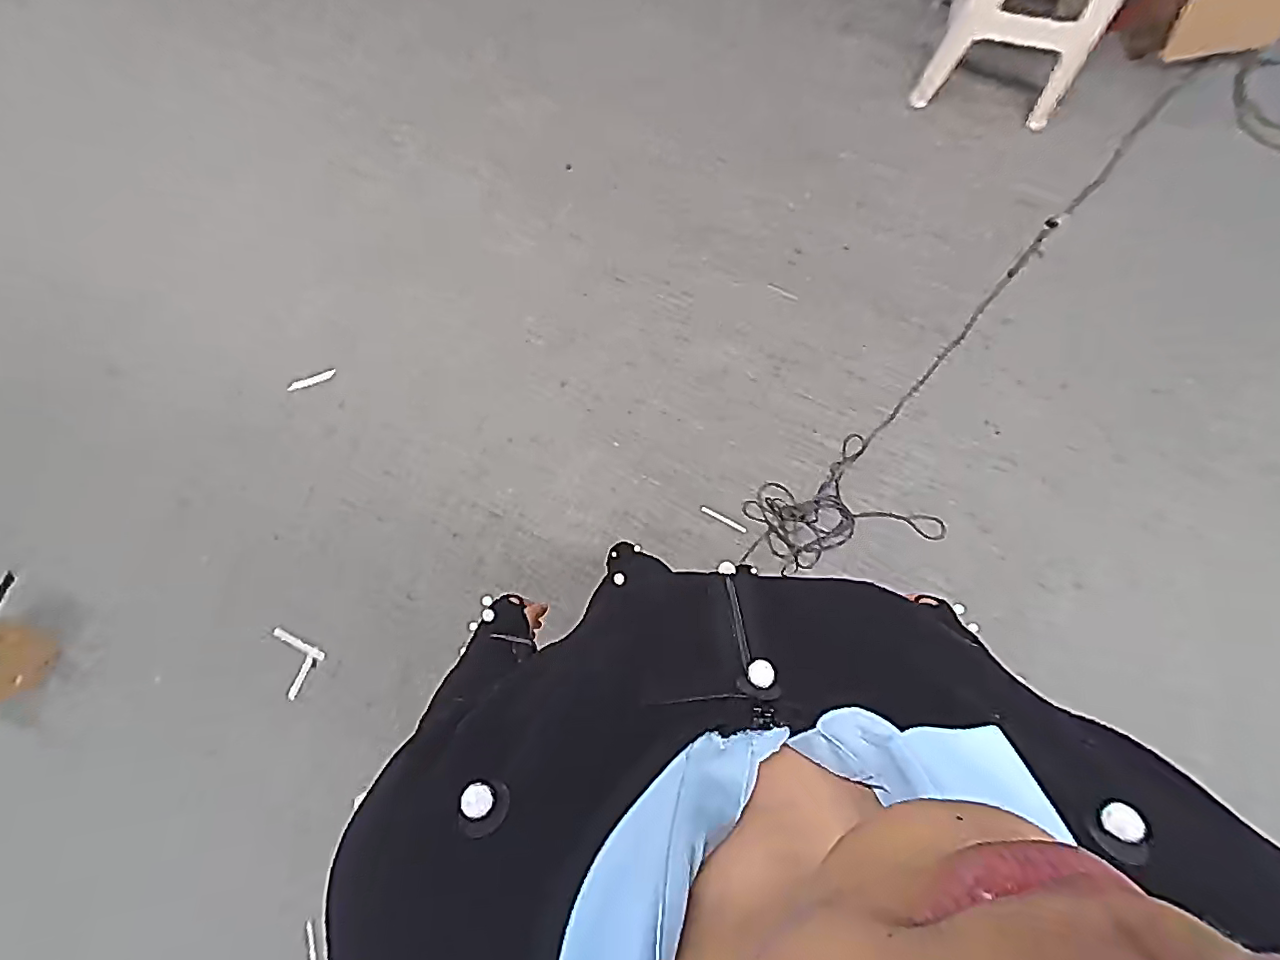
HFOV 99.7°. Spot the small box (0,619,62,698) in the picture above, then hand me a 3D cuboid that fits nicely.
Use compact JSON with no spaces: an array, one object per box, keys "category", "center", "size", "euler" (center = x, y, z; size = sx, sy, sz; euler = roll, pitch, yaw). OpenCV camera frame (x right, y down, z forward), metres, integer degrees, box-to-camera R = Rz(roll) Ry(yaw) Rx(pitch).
[{"category":"small box","center":[-1.841,0.511,1.548],"size":[0.179,0.176,0.168],"euler":[25,85,8]}]
